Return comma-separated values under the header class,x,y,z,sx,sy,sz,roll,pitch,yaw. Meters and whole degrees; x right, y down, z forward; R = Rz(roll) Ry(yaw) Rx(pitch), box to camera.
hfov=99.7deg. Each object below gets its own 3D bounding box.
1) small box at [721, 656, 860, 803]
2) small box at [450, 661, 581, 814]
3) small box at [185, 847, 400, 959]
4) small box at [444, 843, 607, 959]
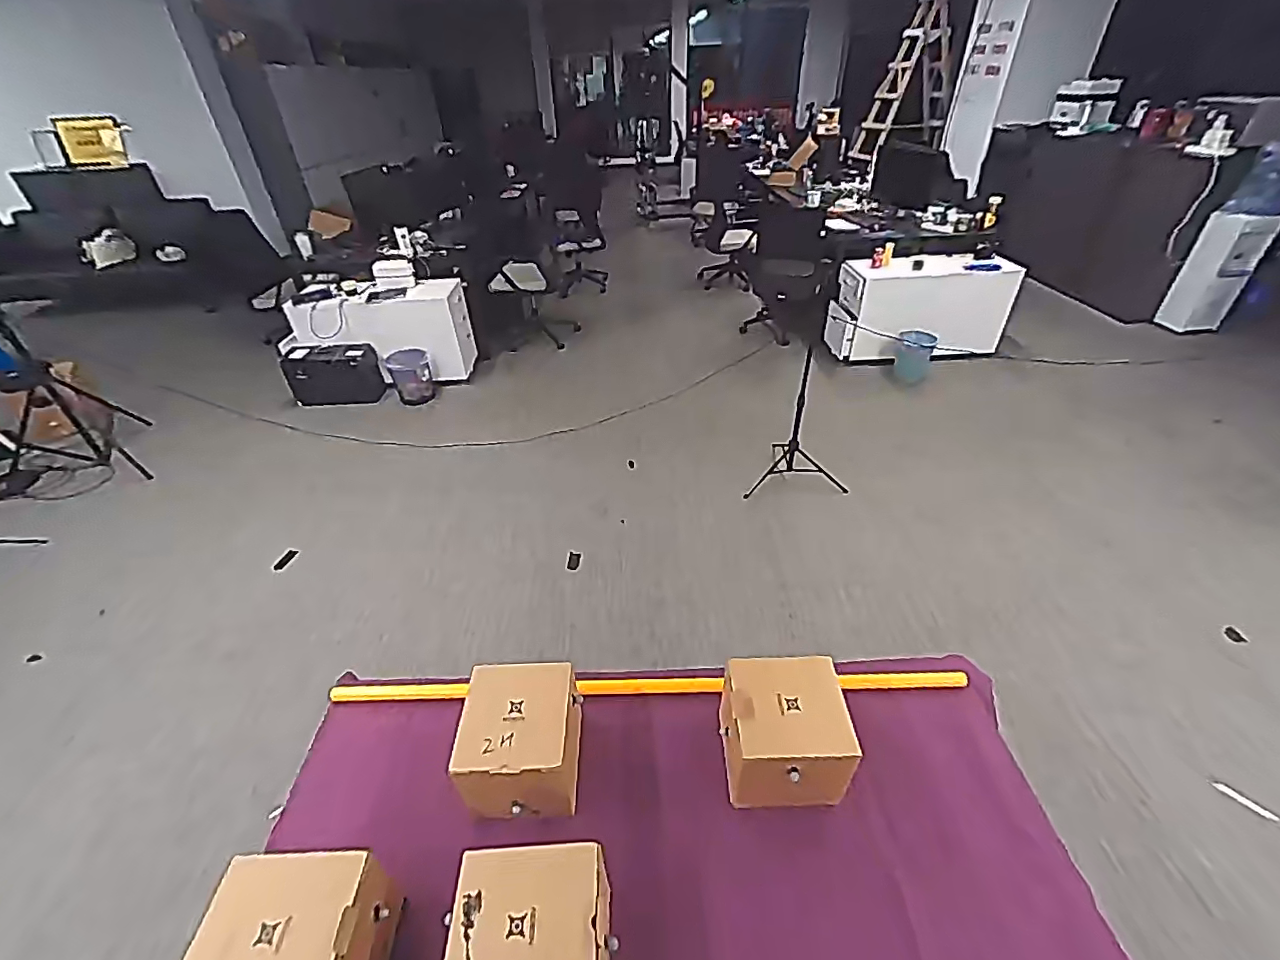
class,x,y,z,sx,sy,sz,roll,pitch,yaw
small box,0.232,0.408,0.885,0.179,0.176,0.168,-2,38,1
small box,-0.190,0.421,0.889,0.168,0.176,0.179,-2,39,1
small box,-0.428,0.587,0.680,0.179,0.176,0.168,-1,37,-1
small box,-0.132,0.580,0.676,0.179,0.176,0.168,-2,37,-1
